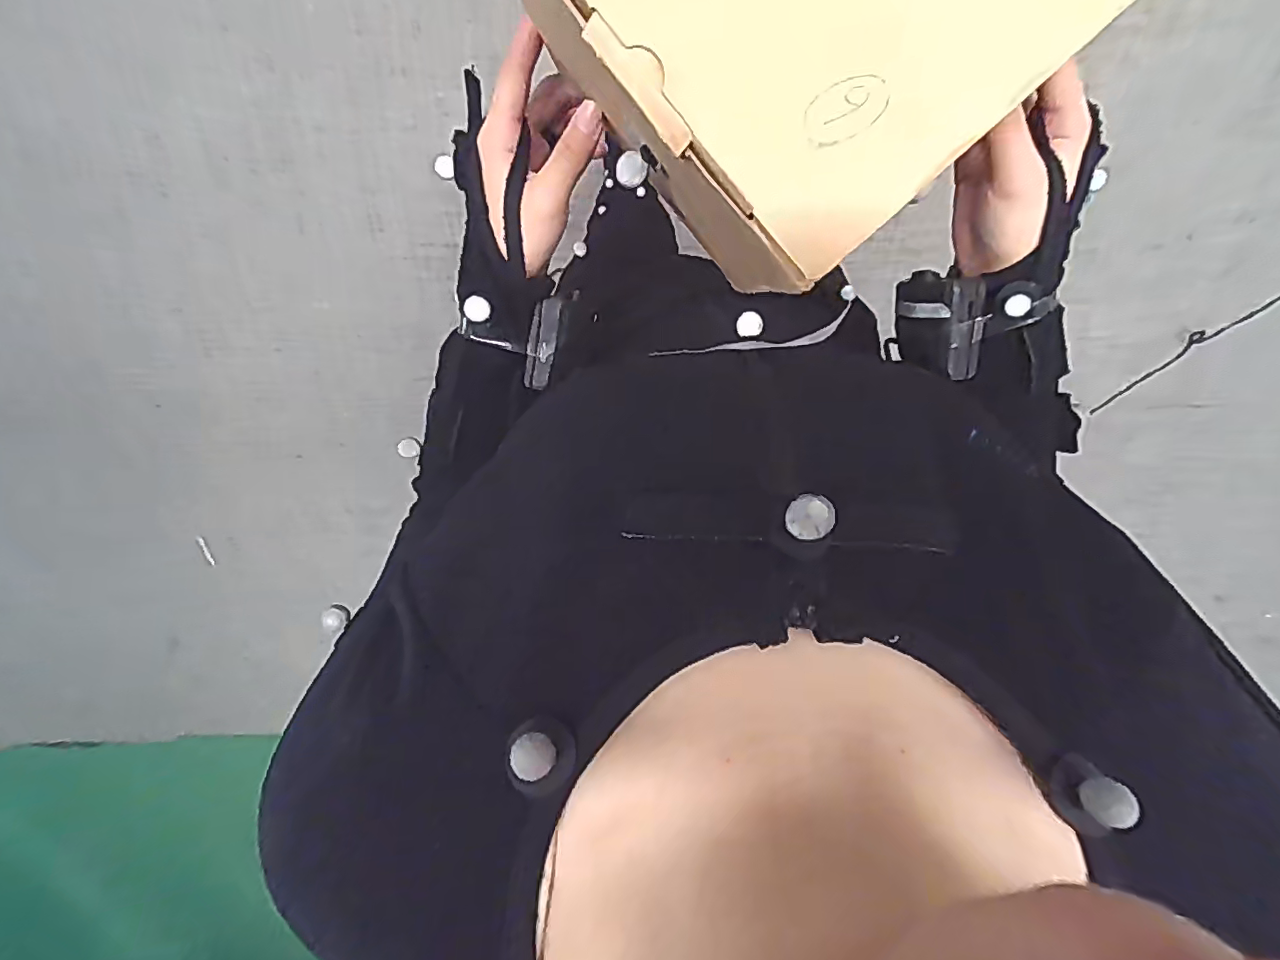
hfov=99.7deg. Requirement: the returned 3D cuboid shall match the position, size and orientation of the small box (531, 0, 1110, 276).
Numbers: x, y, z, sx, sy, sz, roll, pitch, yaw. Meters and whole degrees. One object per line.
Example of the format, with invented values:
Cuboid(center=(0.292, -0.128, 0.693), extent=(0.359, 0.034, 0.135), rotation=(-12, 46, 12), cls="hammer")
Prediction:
Cuboid(center=(0.065, -0.202, 0.218), extent=(0.179, 0.176, 0.168), rotation=(-40, 102, 16), cls="small box")
